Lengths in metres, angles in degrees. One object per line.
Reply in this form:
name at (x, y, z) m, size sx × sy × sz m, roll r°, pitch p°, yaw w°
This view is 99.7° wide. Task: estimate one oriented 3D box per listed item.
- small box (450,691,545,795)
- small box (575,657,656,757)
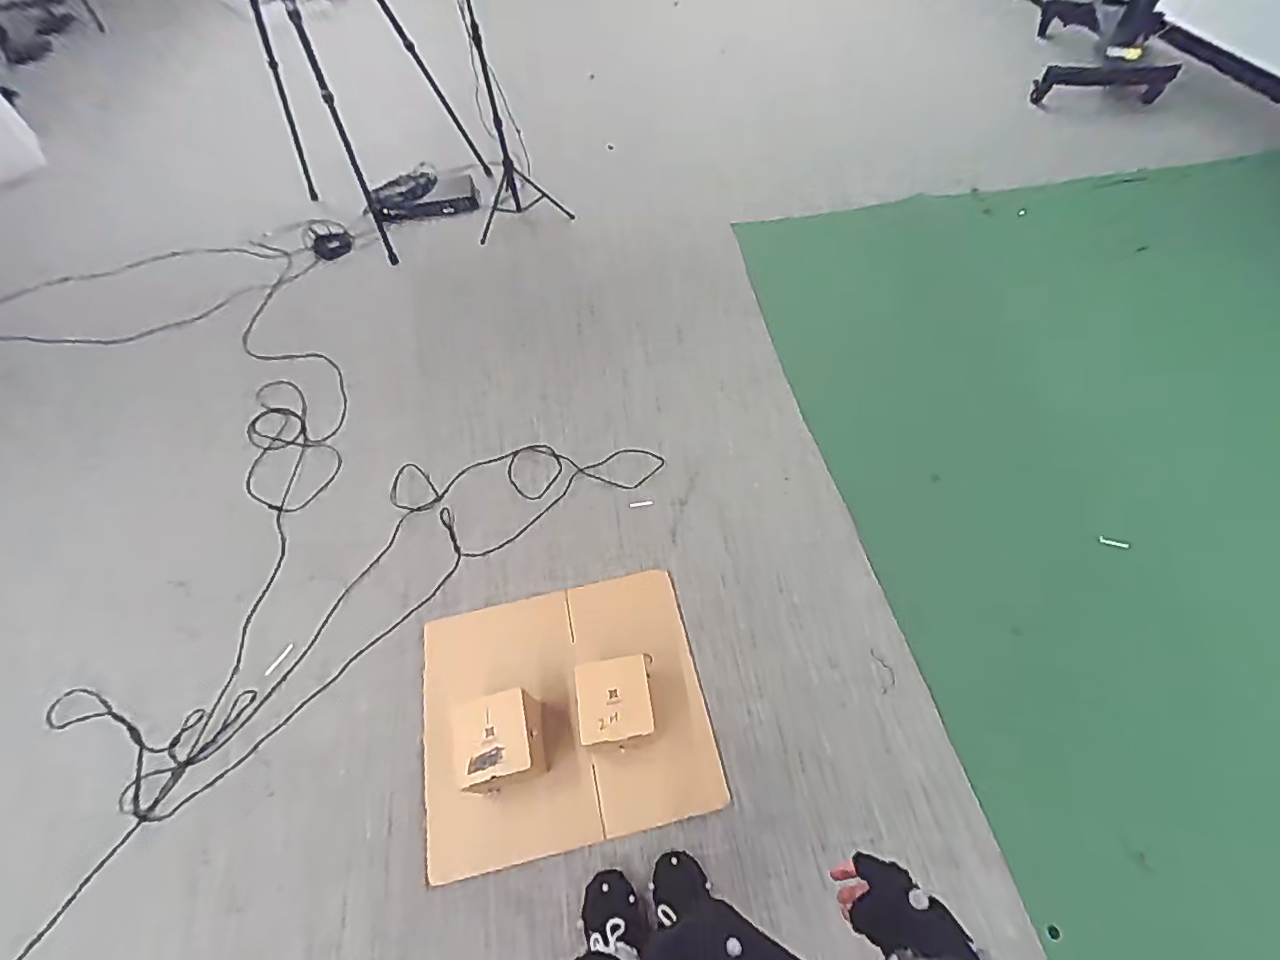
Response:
small box at (-0.326, 0.612, 1.249) m, size 0.168 × 0.176 × 0.179 m, roll -14°, pitch 57°, yaw -5°
small box at (-0.057, 0.541, 1.282) m, size 0.168 × 0.176 × 0.179 m, roll -9°, pitch 58°, yaw -1°
